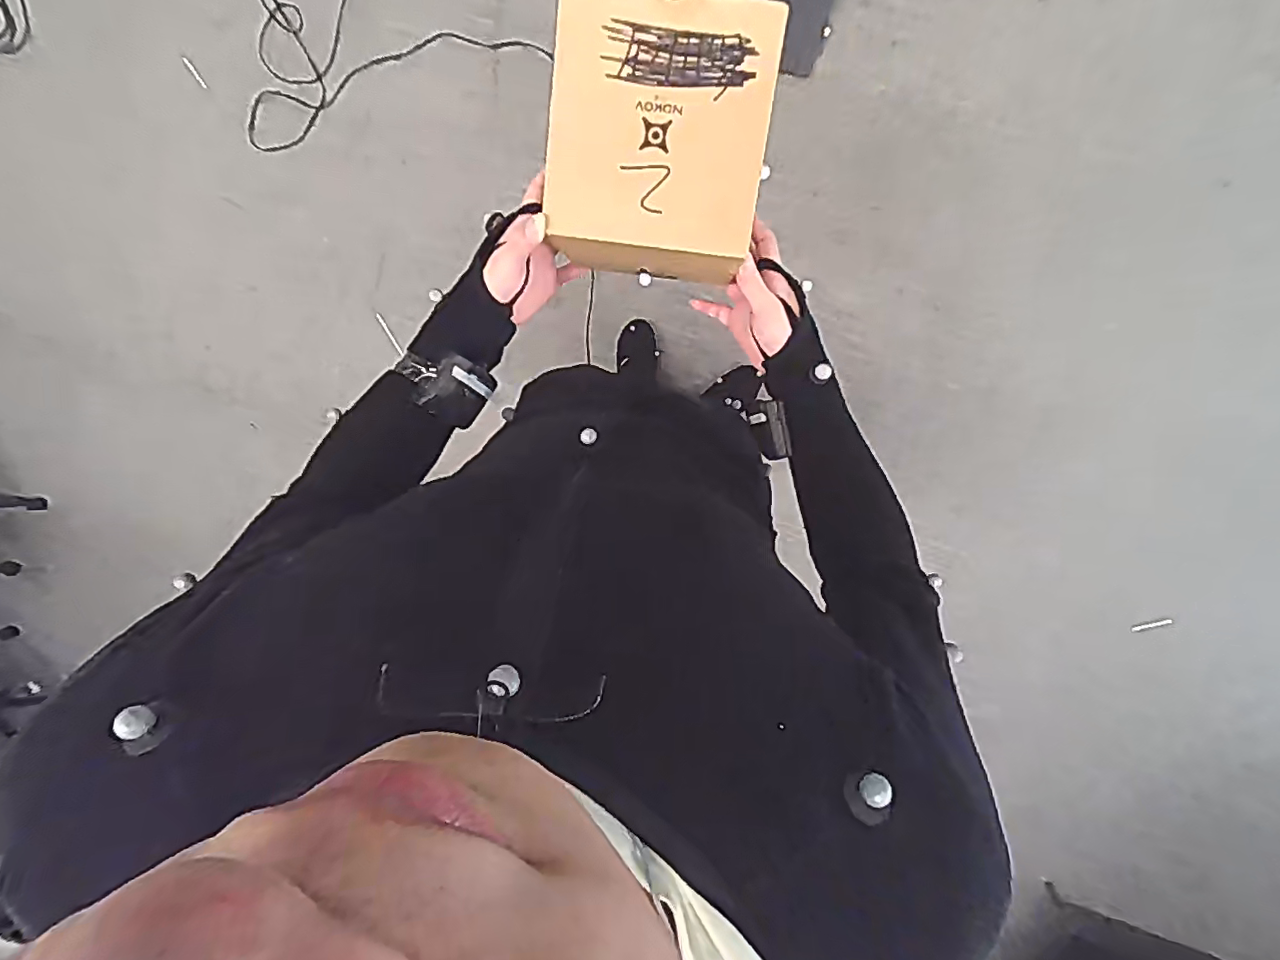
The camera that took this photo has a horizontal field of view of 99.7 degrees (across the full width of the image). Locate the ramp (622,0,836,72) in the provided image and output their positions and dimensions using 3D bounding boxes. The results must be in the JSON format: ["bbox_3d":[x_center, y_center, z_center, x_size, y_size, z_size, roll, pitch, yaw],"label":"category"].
[{"bbox_3d":[0.303,-1.477,1.089,0.509,0.206,0.991,16,108,3],"label":"ramp"}]
